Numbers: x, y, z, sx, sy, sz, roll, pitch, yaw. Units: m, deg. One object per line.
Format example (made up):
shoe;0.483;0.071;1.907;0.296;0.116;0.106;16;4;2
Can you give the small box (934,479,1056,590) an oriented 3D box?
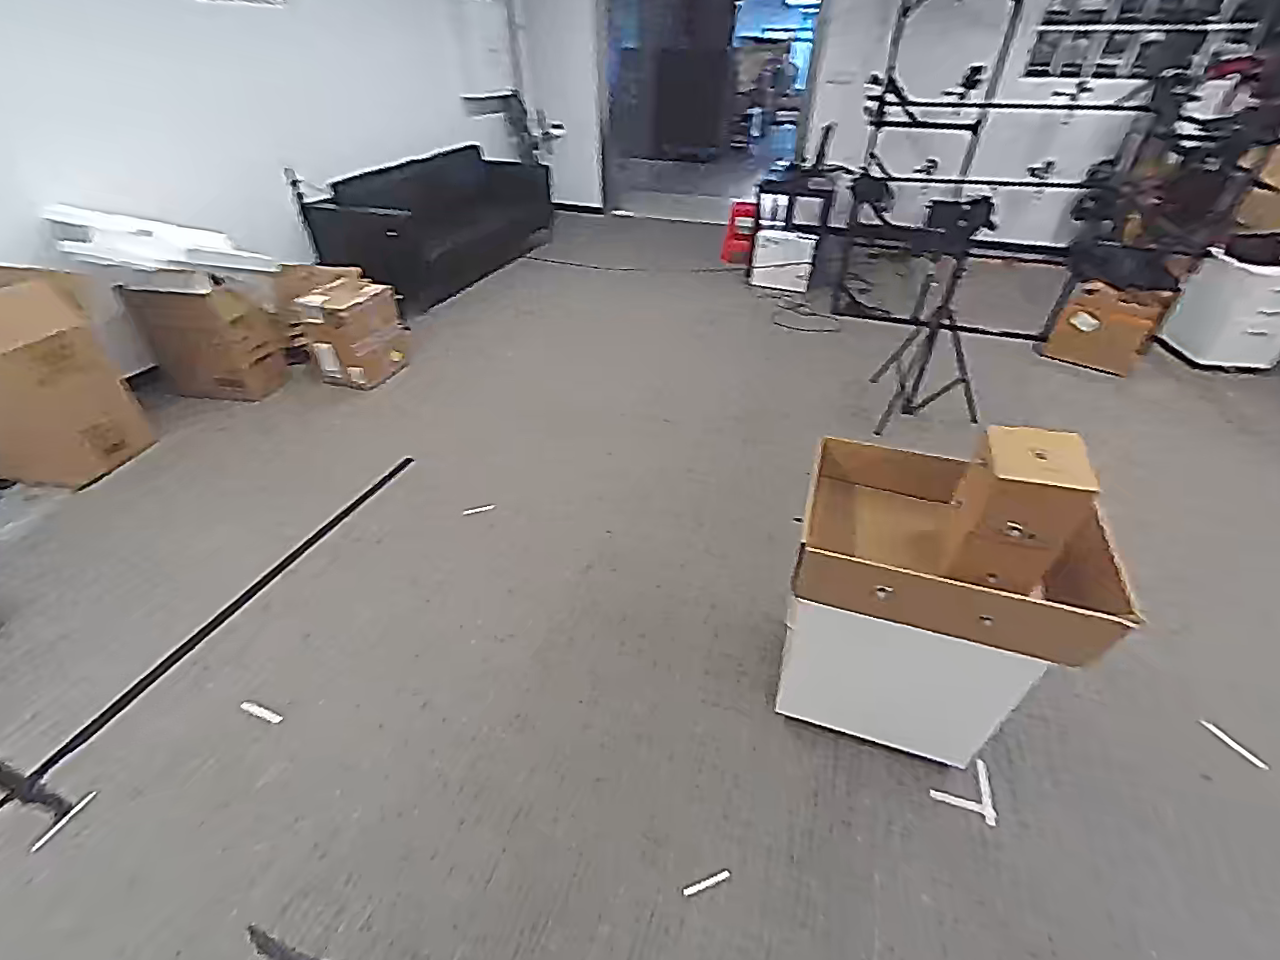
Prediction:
small box;0.786;0.124;1.217;0.179;0.176;0.168;10;44;16

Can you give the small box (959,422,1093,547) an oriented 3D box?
small box;0.770;0.008;1.103;0.168;0.176;0.179;8;45;17
